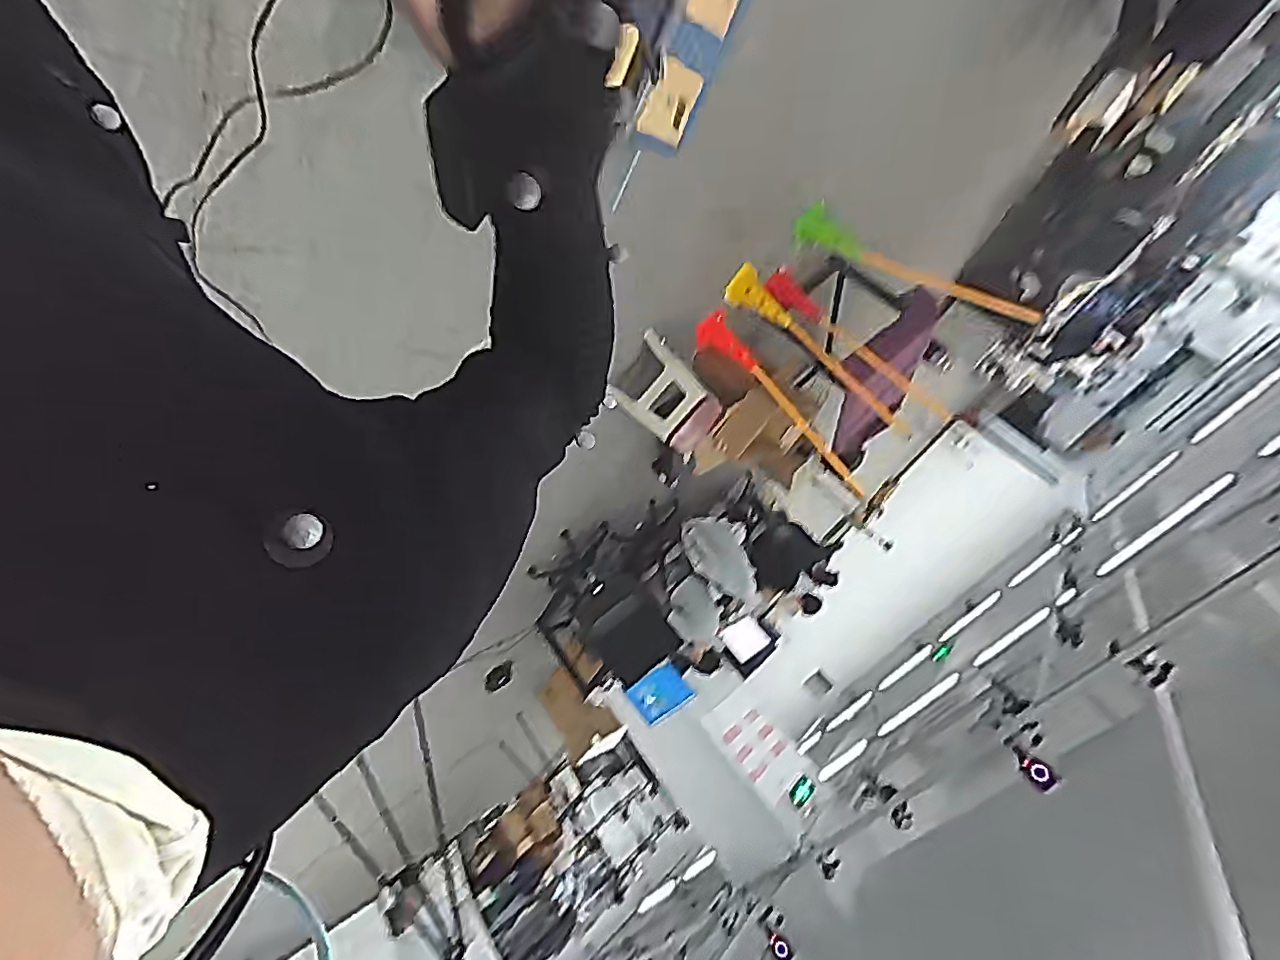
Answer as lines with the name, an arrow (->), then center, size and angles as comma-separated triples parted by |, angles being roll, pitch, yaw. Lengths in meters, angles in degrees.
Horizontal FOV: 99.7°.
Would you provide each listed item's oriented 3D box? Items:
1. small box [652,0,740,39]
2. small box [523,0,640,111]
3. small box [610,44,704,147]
small box -> 0.139, -1.227, 1.317 | 0.179, 0.176, 0.168 | -14, 144, -44
small box -> -0.139, -1.013, 1.262 | 0.179, 0.176, 0.168 | -10, 140, -48
small box -> 0.033, -1.041, 1.459 | 0.179, 0.176, 0.168 | -12, 141, -45
